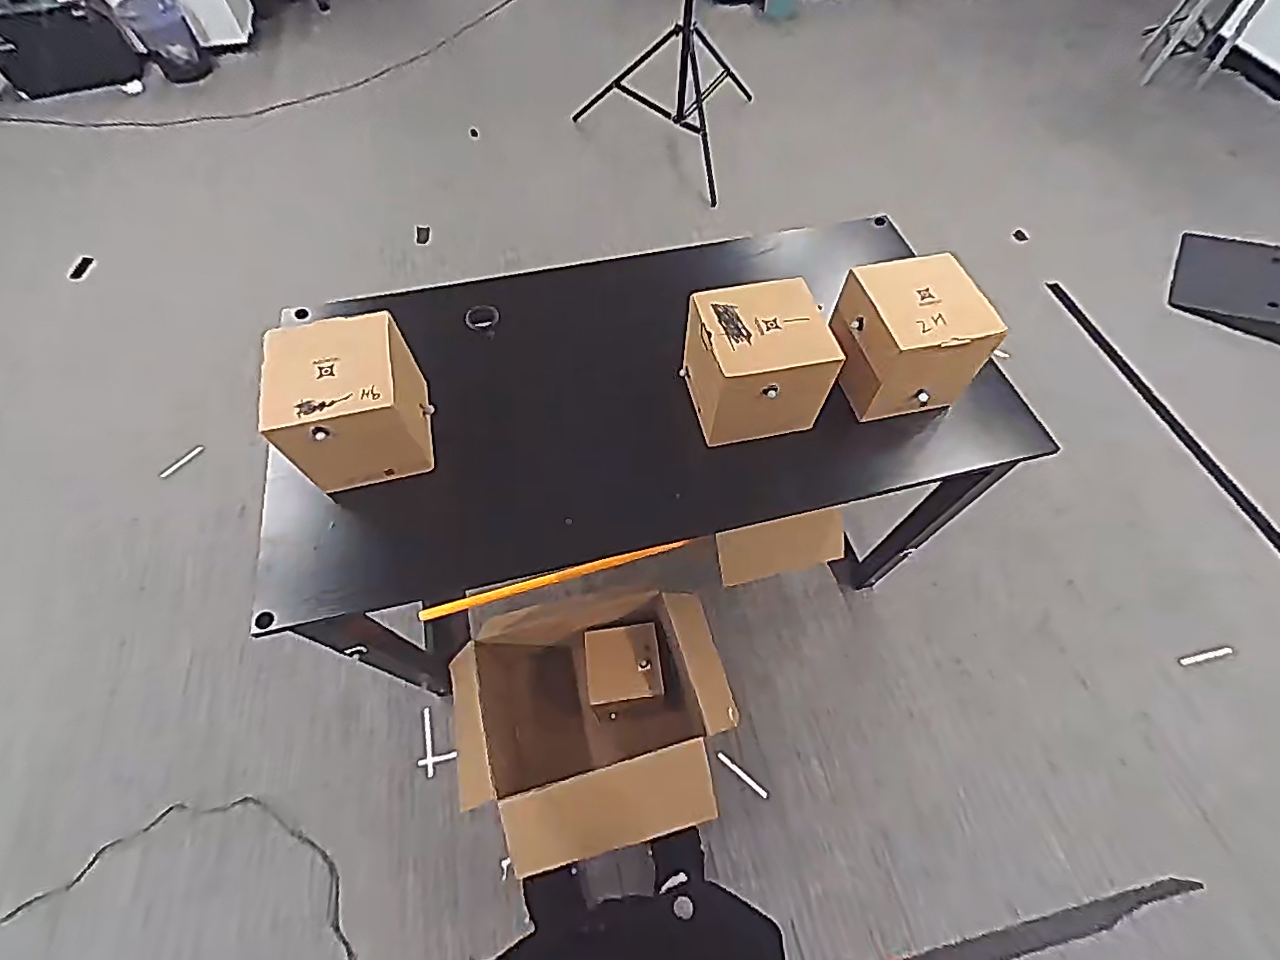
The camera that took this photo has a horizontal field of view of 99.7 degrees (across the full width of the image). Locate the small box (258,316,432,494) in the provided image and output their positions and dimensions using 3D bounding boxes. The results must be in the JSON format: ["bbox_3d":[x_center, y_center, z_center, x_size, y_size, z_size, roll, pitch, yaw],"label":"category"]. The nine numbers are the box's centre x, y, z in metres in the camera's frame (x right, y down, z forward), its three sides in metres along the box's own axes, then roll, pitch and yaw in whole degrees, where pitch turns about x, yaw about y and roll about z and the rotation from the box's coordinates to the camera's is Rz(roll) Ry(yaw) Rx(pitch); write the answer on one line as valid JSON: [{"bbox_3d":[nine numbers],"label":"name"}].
[{"bbox_3d":[-0.412,-0.105,0.784,0.168,0.176,0.179,-13,61,-8],"label":"small box"}]

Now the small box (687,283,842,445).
[{"bbox_3d":[0.173,-0.170,0.827,0.179,0.176,0.168,-10,61,-7],"label":"small box"}]

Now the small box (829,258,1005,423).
[{"bbox_3d":[0.413,-0.216,0.853,0.168,0.176,0.179,-11,61,-5],"label":"small box"}]
